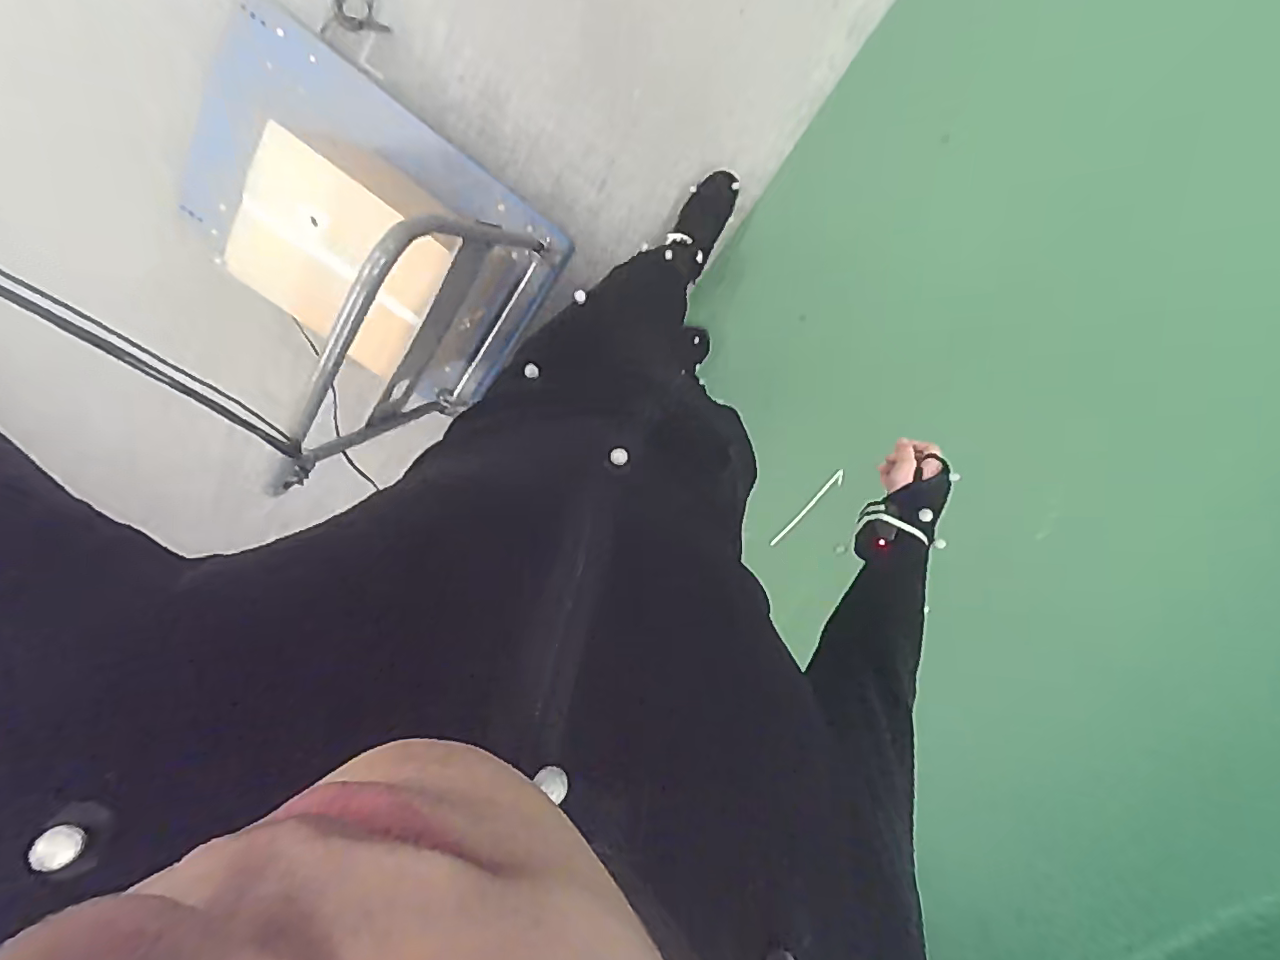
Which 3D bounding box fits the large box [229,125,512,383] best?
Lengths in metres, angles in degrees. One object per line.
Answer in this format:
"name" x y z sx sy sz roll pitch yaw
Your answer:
"large box" -0.566 -0.480 1.193 0.408 0.320 0.320 36 112 -7
